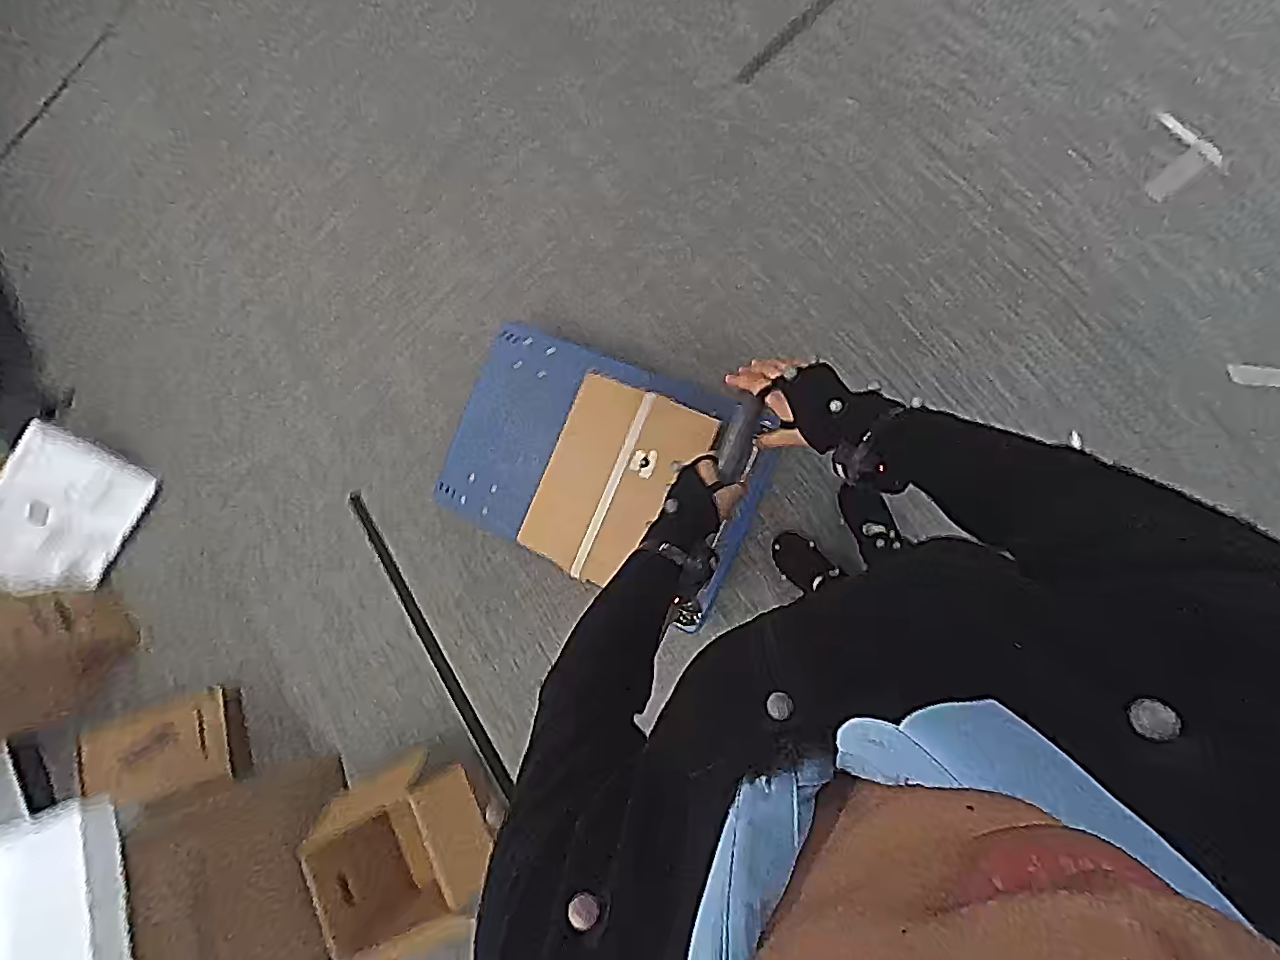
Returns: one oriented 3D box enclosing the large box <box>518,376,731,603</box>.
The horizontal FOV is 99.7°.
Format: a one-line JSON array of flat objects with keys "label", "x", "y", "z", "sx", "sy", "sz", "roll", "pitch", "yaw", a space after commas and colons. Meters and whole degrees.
[{"label": "large box", "x": -0.018, "y": 0.027, "z": 1.263, "sx": 0.320, "sy": 0.320, "sz": 0.408, "roll": 23, "pitch": 92, "yaw": 16}]
